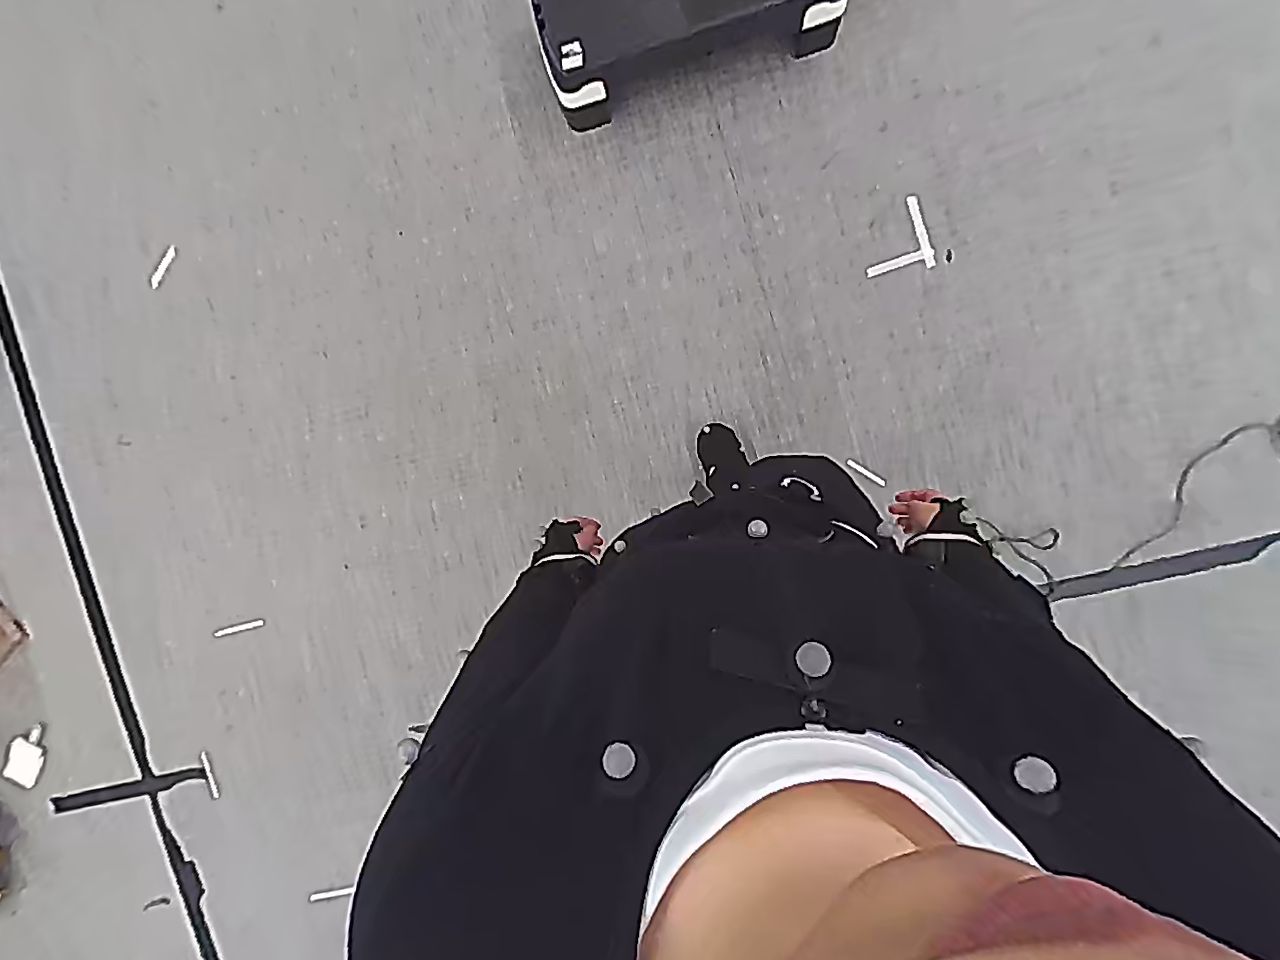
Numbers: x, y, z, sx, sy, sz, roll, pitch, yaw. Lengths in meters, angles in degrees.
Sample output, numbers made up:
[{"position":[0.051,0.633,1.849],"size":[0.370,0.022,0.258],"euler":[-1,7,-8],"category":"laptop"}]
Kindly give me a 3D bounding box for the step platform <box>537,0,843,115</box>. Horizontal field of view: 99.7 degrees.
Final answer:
[{"position":[0.111,-1.103,1.205],"size":[0.684,0.204,0.286],"euler":[-15,92,7],"category":"step platform"}]
